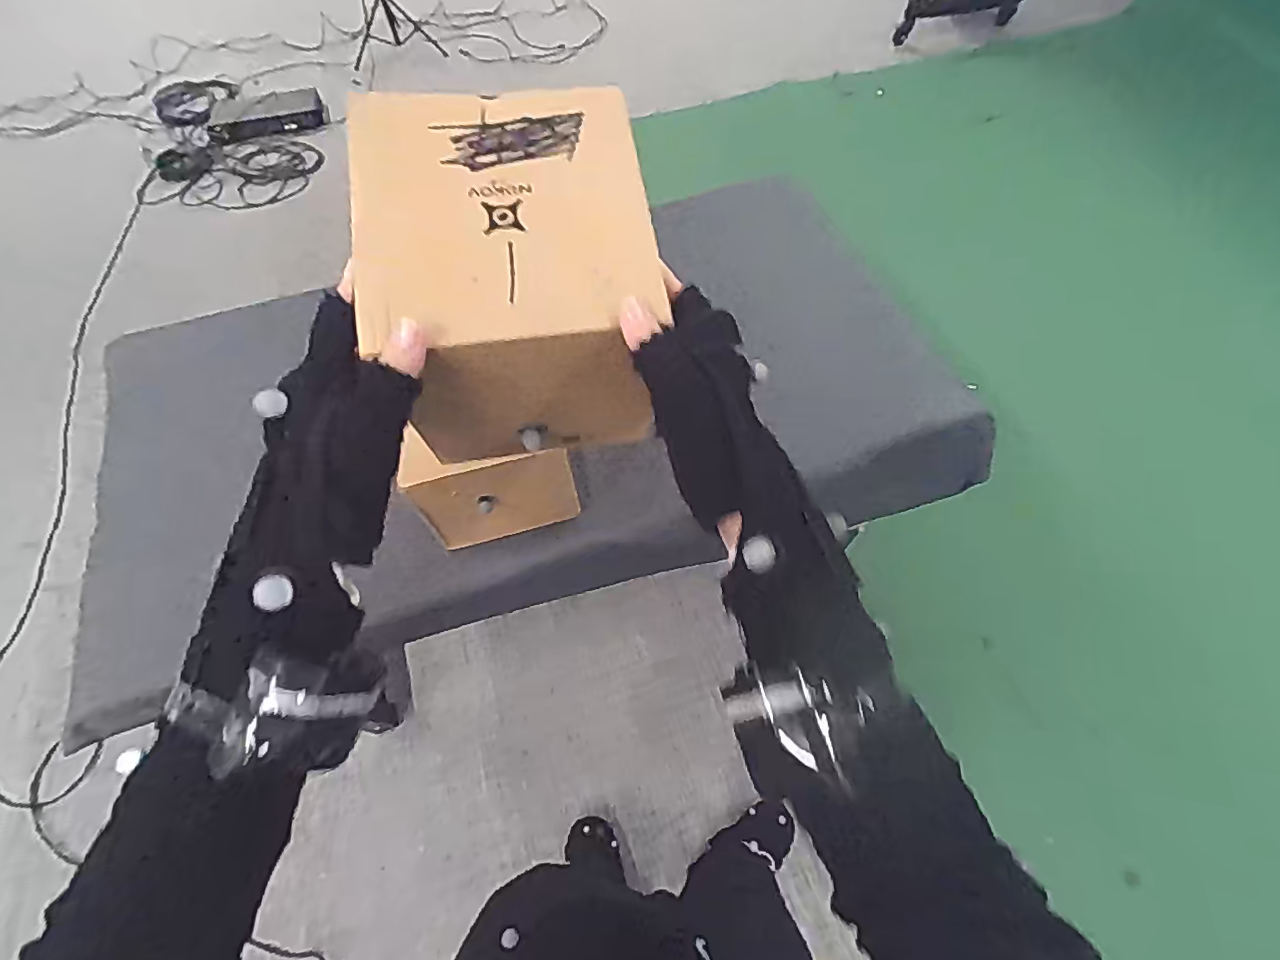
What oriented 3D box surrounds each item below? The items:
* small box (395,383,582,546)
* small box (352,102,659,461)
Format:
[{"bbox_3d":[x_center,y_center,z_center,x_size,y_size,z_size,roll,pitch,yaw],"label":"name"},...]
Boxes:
[{"bbox_3d":[-0.181,-0.036,0.673,0.179,0.176,0.168,-14,61,-7],"label":"small box"},{"bbox_3d":[-0.090,-0.130,0.392,0.168,0.176,0.179,-8,73,-8],"label":"small box"}]
